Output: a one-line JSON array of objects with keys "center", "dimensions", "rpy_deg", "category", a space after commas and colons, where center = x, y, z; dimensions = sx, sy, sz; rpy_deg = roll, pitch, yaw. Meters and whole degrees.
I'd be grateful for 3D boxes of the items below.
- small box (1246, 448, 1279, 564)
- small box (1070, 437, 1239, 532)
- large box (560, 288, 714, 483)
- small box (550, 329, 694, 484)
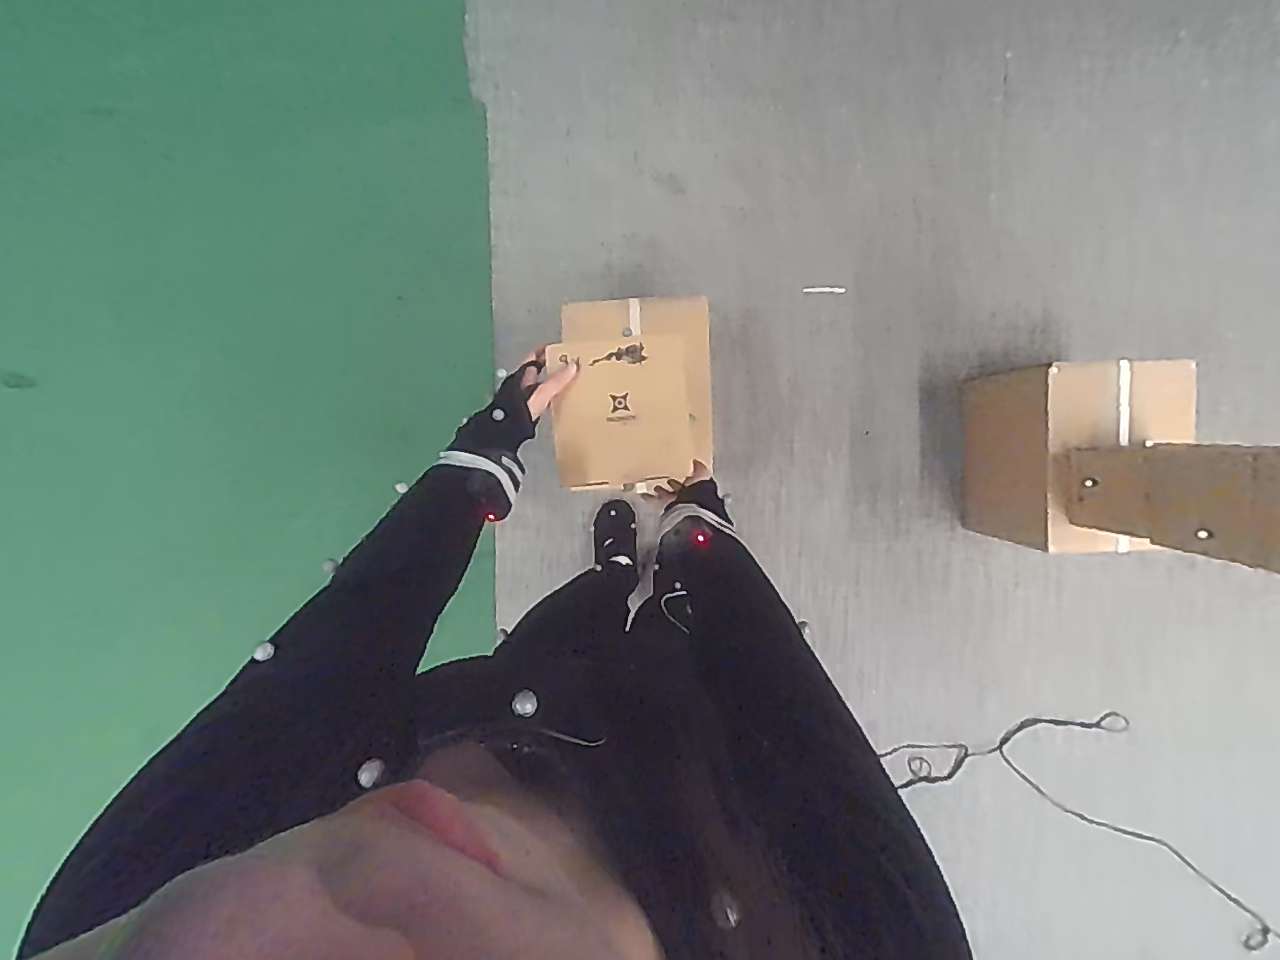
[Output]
[{"center": [1.000, 0.045, 0.736], "dimensions": [0.168, 0.176, 0.179], "rpy_deg": [0, 97, 1], "category": "small box"}, {"center": [0.999, 0.003, 1.063], "dimensions": [0.179, 0.176, 0.168], "rpy_deg": [-3, 95, 2], "category": "small box"}, {"center": [-0.002, -0.206, 1.294], "dimensions": [0.320, 0.320, 0.408], "rpy_deg": [-2, 94, 0], "category": "large box"}, {"center": [-0.019, -0.095, 0.729], "dimensions": [0.168, 0.176, 0.179], "rpy_deg": [-5, 95, 1], "category": "small box"}]
